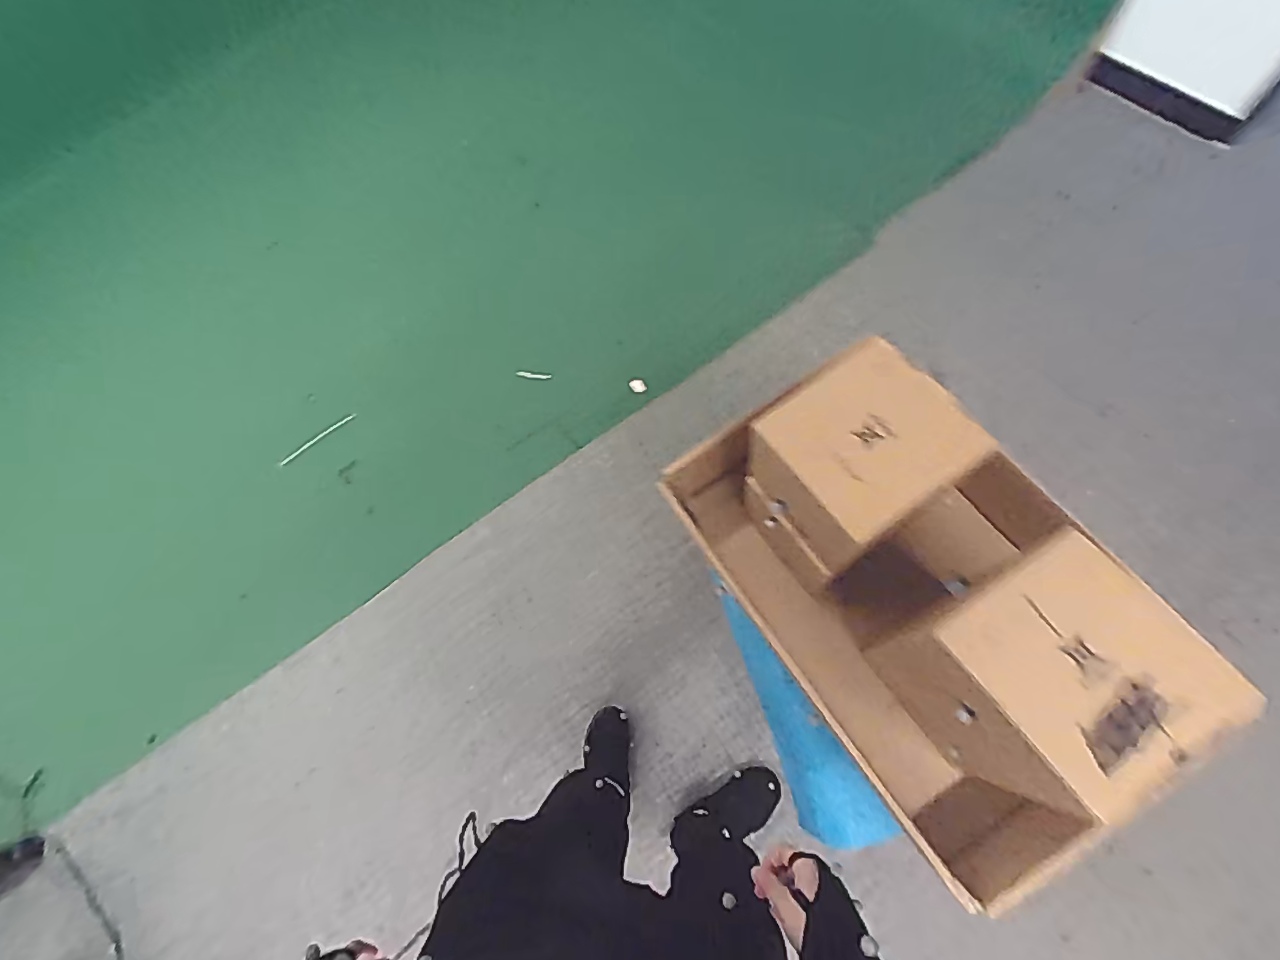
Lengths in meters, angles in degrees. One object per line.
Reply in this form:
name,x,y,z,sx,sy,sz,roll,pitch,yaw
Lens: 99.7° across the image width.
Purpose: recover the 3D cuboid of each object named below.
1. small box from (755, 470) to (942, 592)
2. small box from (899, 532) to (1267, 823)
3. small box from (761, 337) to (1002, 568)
small box,0.280,0.039,0.775,0.179,0.176,0.168,-33,67,-3
small box,0.389,0.181,0.520,0.168,0.176,0.179,-34,66,-3
small box,0.255,-0.022,0.625,0.179,0.176,0.168,-34,68,-3
